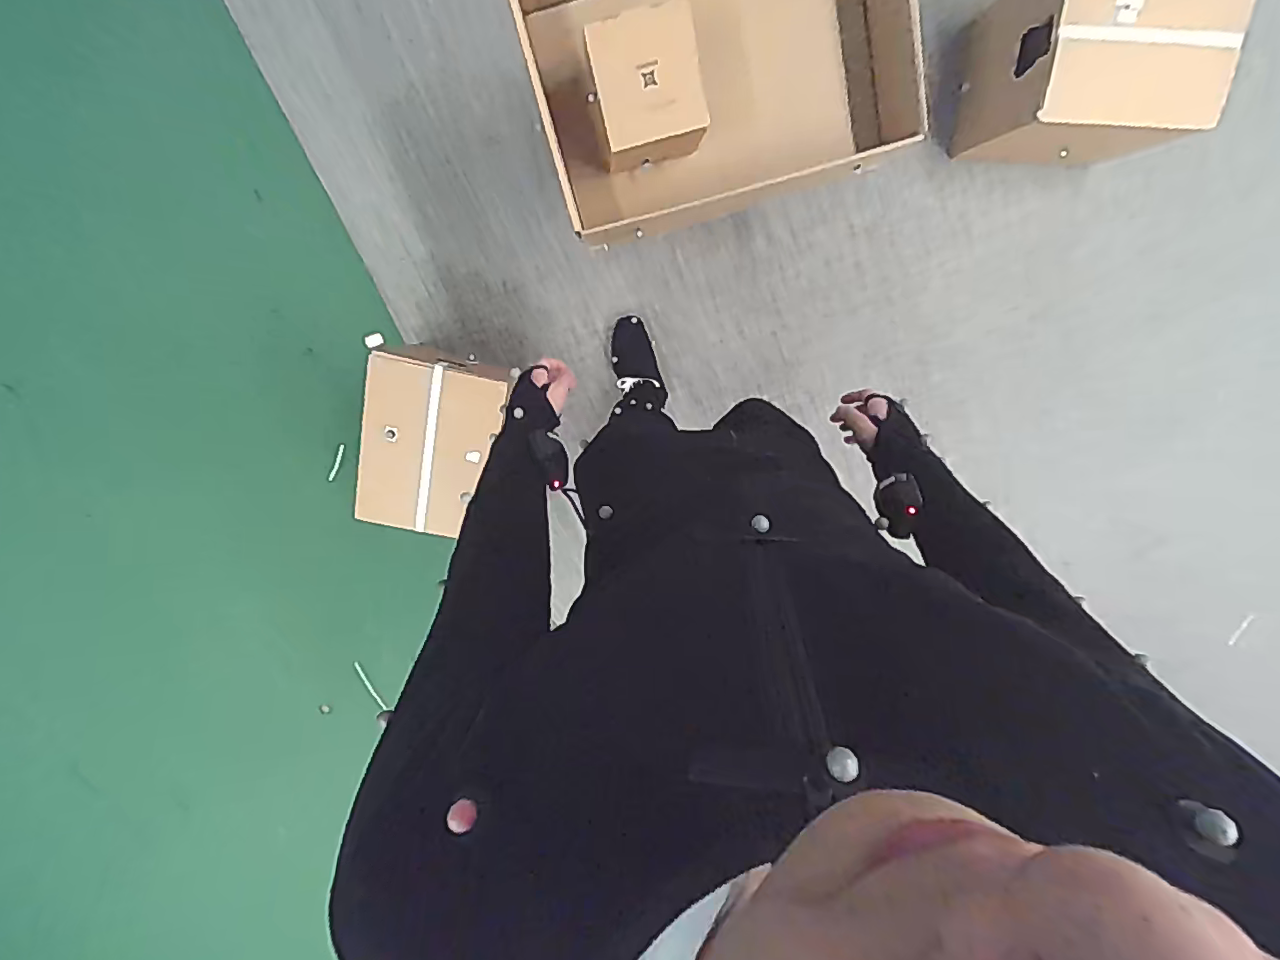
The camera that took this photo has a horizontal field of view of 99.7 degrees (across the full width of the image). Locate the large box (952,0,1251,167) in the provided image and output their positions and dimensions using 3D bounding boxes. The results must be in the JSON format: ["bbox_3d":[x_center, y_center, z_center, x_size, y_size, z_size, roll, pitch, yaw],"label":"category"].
[{"bbox_3d":[1.027,-0.932,1.249,0.408,0.320,0.320,0,106,-3],"label":"large box"}]
